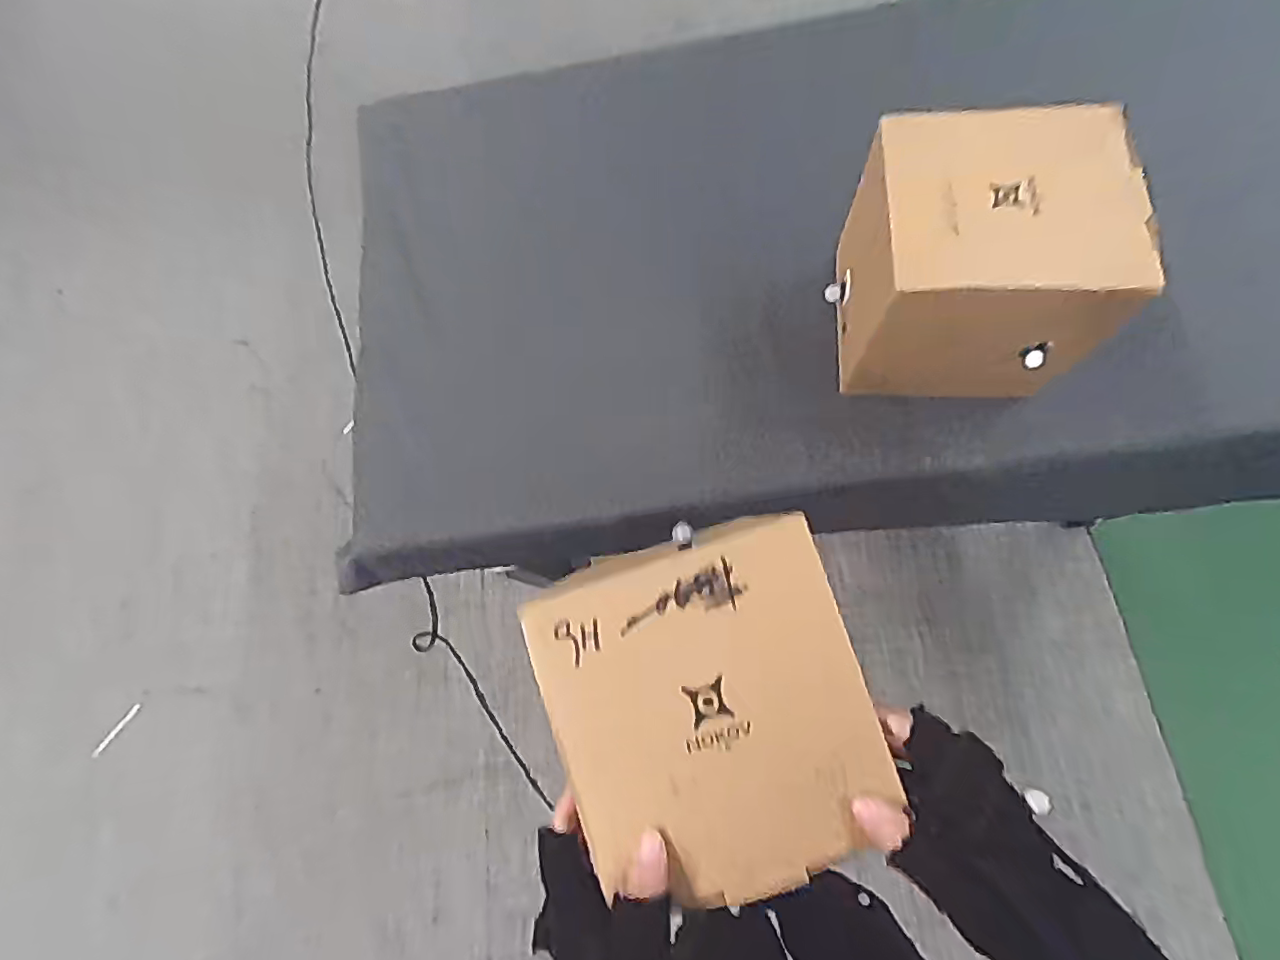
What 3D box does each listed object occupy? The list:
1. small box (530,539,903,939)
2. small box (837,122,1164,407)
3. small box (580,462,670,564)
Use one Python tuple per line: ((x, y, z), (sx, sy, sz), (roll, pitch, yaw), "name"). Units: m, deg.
((0.043, 0.148, 0.375), (0.168, 0.176, 0.179), (-18, 85, 1), "small box")
((0.284, -0.173, 0.474), (0.179, 0.176, 0.168), (2, 72, 8), "small box")
((-0.029, 0.078, 1.197), (0.168, 0.176, 0.179), (-11, 74, 3), "small box")
